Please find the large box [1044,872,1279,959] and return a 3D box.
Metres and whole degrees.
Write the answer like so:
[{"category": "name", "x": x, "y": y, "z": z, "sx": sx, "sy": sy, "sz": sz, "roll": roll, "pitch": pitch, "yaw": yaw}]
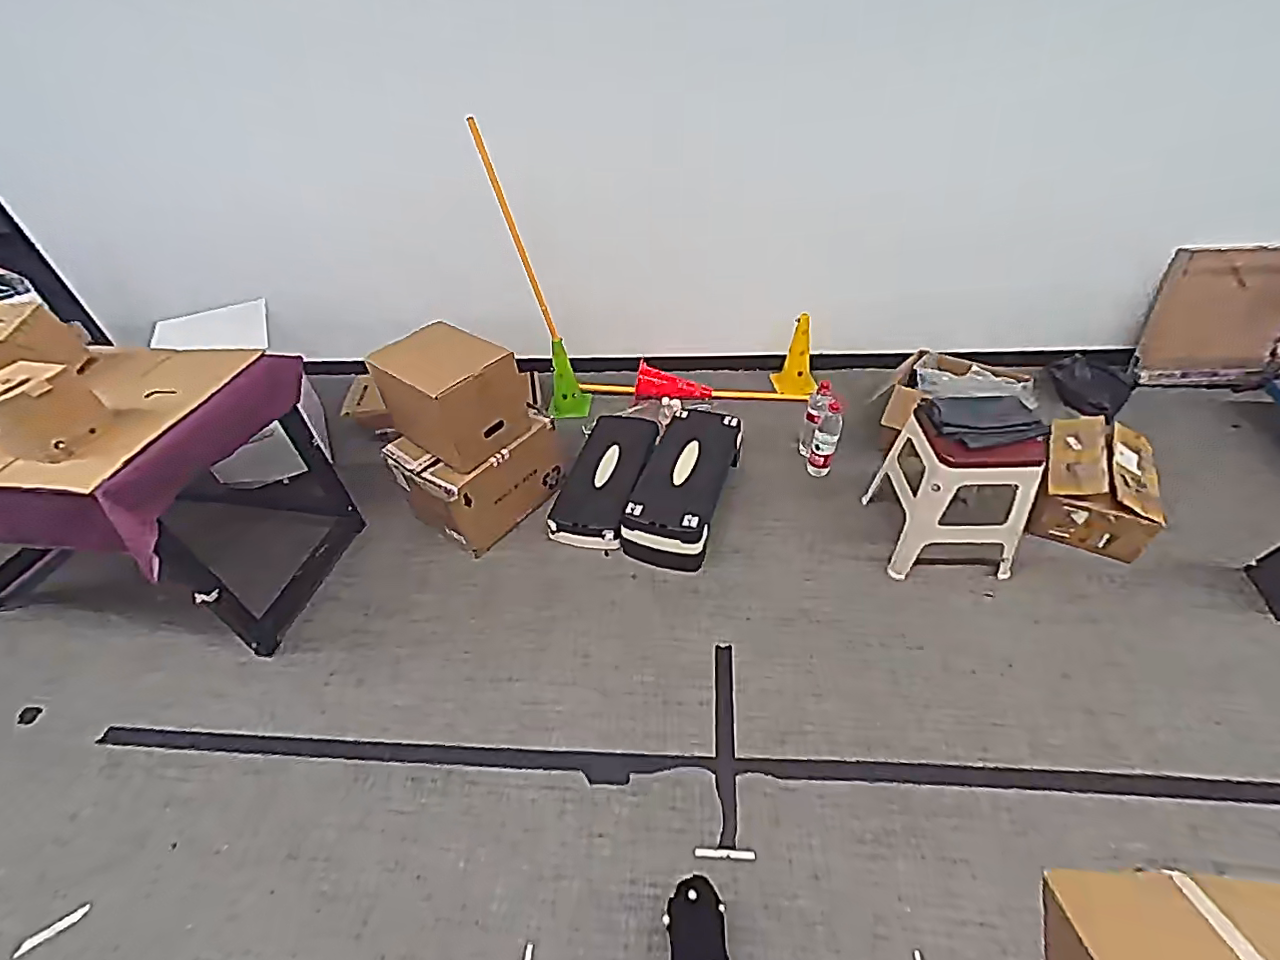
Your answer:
[{"category": "large box", "x": 0.669, "y": 0.697, "z": 0.530, "sx": 0.320, "sy": 0.320, "sz": 0.408, "roll": -5, "pitch": 8, "yaw": 13}]
